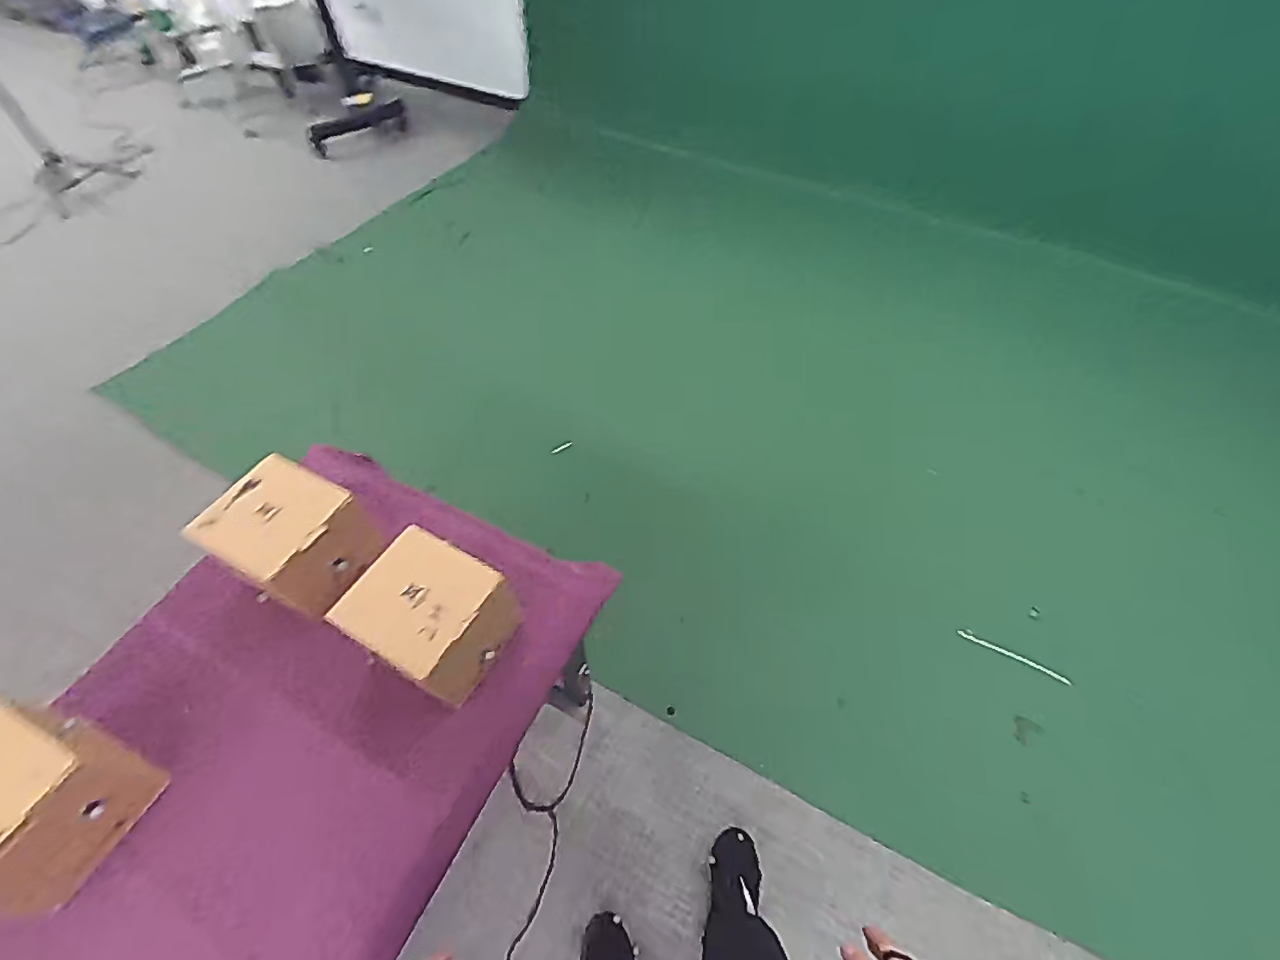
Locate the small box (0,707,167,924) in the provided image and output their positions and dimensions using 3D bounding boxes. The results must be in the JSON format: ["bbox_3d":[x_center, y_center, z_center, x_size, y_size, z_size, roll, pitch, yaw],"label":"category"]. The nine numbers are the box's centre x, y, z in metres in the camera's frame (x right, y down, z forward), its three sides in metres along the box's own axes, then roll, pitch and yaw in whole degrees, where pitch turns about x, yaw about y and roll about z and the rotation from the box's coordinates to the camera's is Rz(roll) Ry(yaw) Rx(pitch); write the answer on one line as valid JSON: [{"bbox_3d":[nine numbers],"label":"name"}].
[{"bbox_3d":[-0.752,0.406,0.661,0.179,0.176,0.168,22,56,14],"label":"small box"}]

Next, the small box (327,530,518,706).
[{"bbox_3d":[-0.309,0.211,0.806,0.179,0.176,0.168,24,59,16],"label":"small box"}]

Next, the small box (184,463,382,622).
[{"bbox_3d":[-0.559,0.108,0.878,0.179,0.176,0.168,23,57,13],"label":"small box"}]
